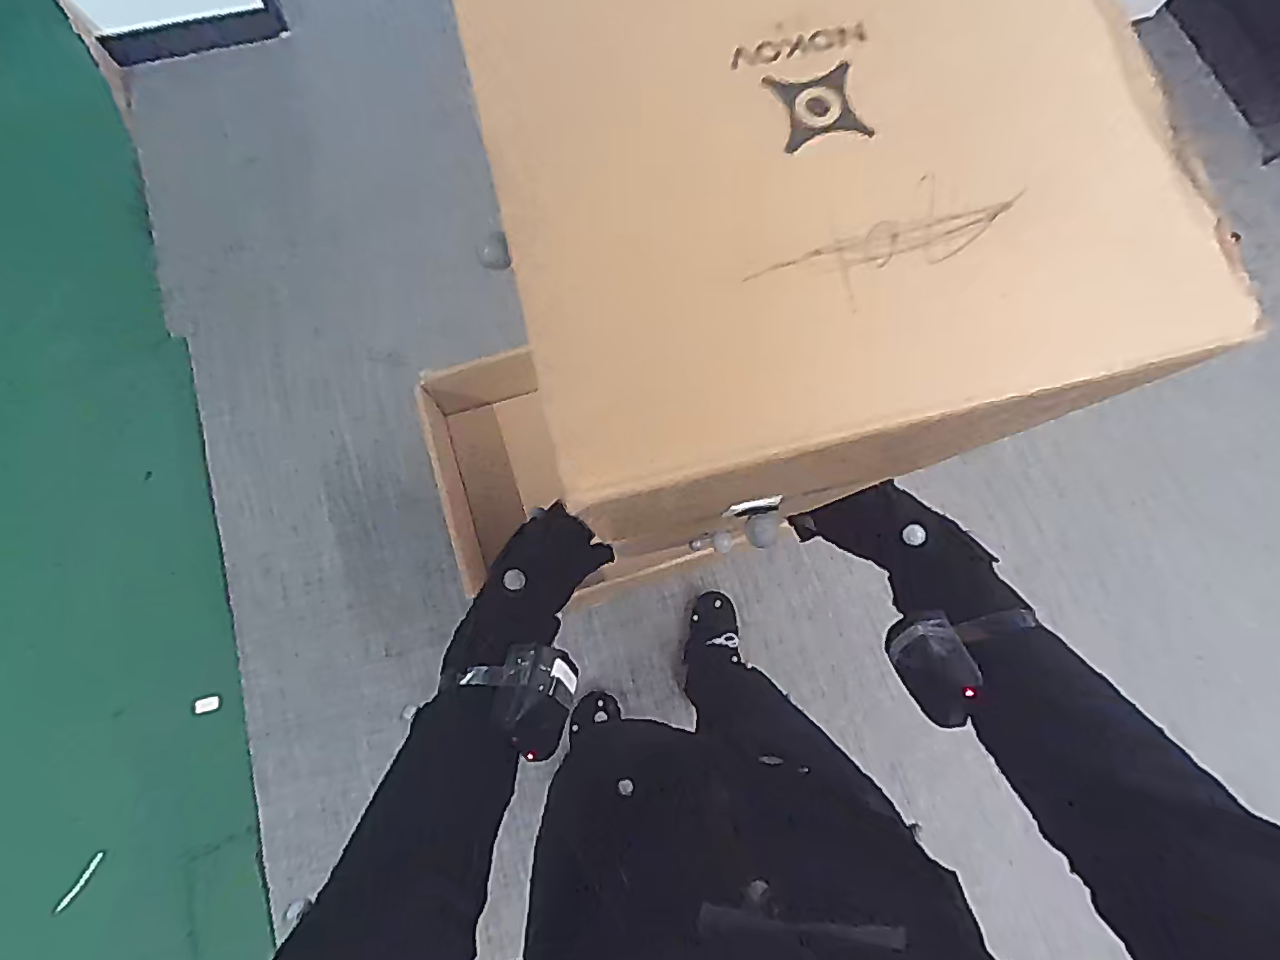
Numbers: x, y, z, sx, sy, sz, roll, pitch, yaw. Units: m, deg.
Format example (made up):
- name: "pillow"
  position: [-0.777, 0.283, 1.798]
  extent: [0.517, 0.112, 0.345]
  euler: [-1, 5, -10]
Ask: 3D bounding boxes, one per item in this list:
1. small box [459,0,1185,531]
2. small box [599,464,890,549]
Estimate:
- name: "small box"
  position: [0.041, -0.086, 0.228]
  extent: [0.168, 0.176, 0.179]
  euler: [-15, 81, -2]
- name: "small box"
  position: [0.040, -0.056, 0.387]
  extent: [0.168, 0.176, 0.179]
  euler: [-14, 80, -3]
